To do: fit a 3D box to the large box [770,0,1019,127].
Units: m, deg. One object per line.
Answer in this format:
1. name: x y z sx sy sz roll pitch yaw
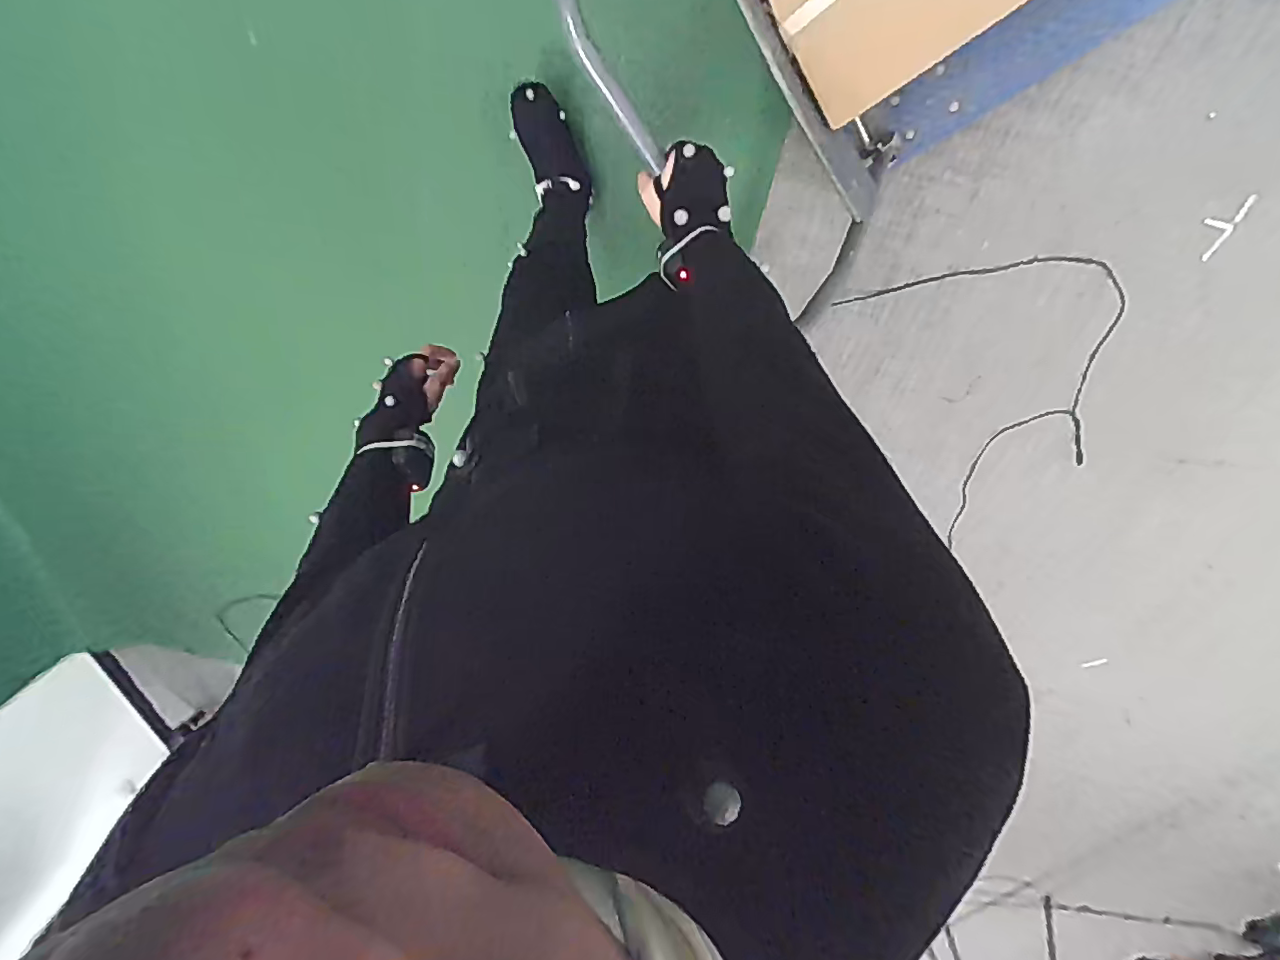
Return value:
1. large box: 0.404 -0.803 0.754 0.408 0.320 0.320 -18 123 41
